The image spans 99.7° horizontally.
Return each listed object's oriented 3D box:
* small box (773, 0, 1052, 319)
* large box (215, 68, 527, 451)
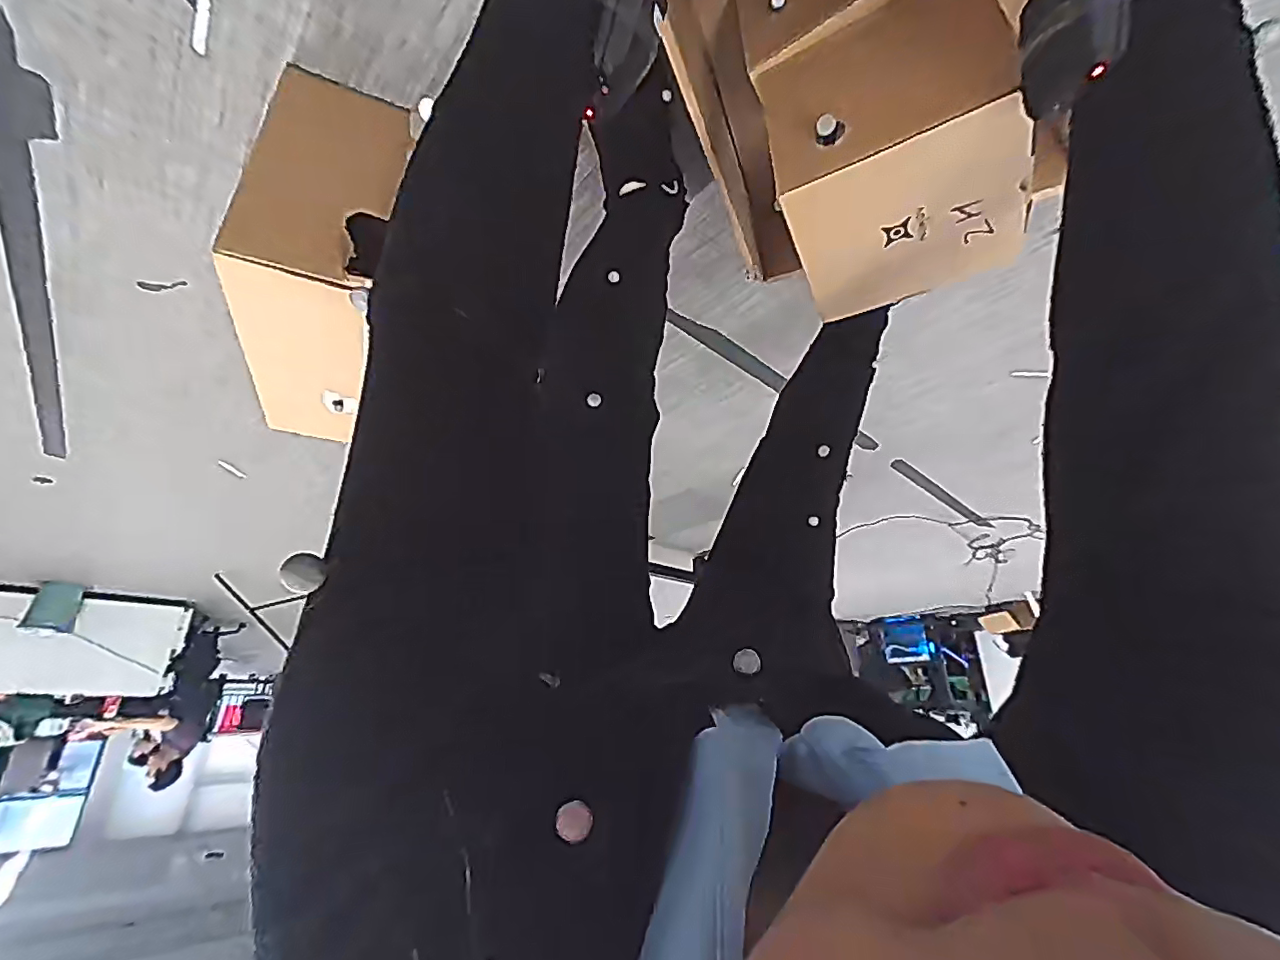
[{"bbox_3d":[0.223,-0.282,0.476,0.179,0.176,0.168,-14,151,26],"label":"small box"},{"bbox_3d":[-0.370,-0.283,0.822,0.320,0.320,0.408,10,155,-22],"label":"large box"}]
